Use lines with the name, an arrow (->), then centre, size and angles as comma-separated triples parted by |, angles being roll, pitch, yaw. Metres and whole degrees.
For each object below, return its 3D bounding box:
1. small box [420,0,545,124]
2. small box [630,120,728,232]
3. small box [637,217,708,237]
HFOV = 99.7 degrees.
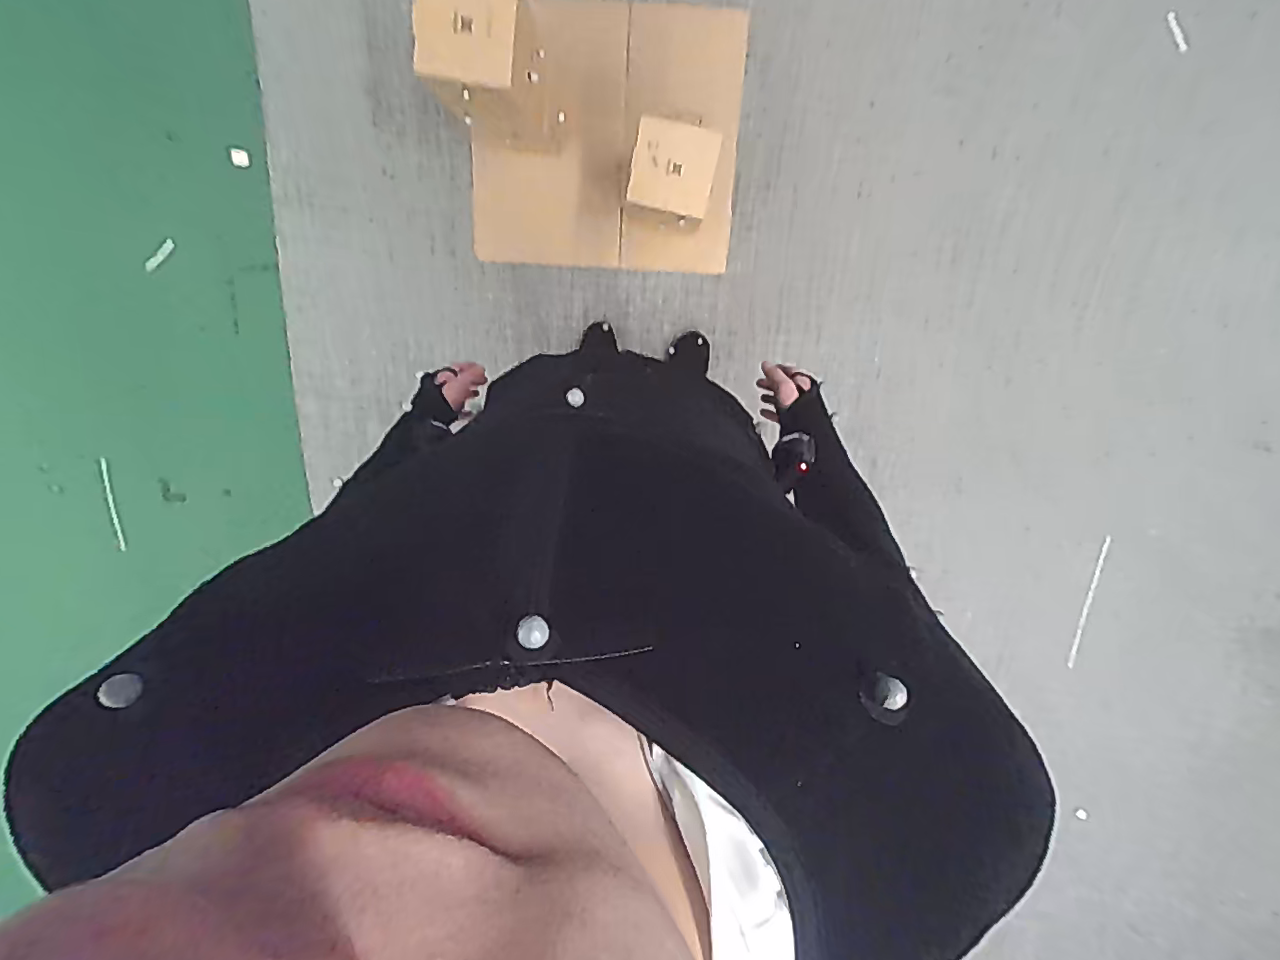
small box -> -0.289, -0.797, 1.014 | 0.179, 0.176, 0.168 | 10, 107, -1
small box -> 0.085, -0.667, 1.208 | 0.179, 0.176, 0.168 | 13, 106, 0
small box -> 0.093, -0.721, 1.364 | 0.179, 0.176, 0.168 | 9, 106, 1
